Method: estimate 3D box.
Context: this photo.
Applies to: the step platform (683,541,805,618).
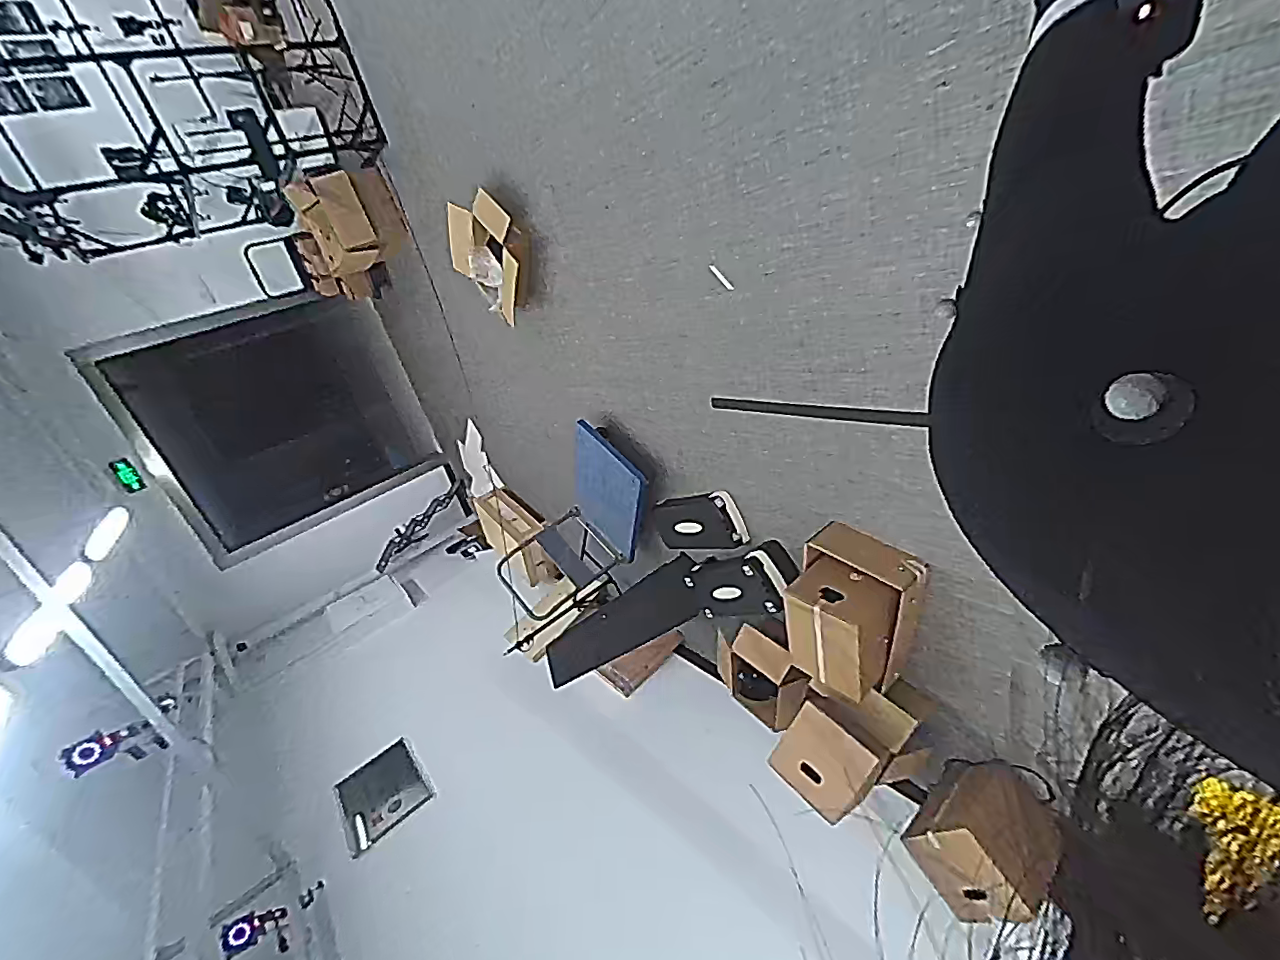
[{"bbox_3d":[0.493,0.519,2.725,0.286,0.204,0.684,58,150,1],"label":"step platform"}]
